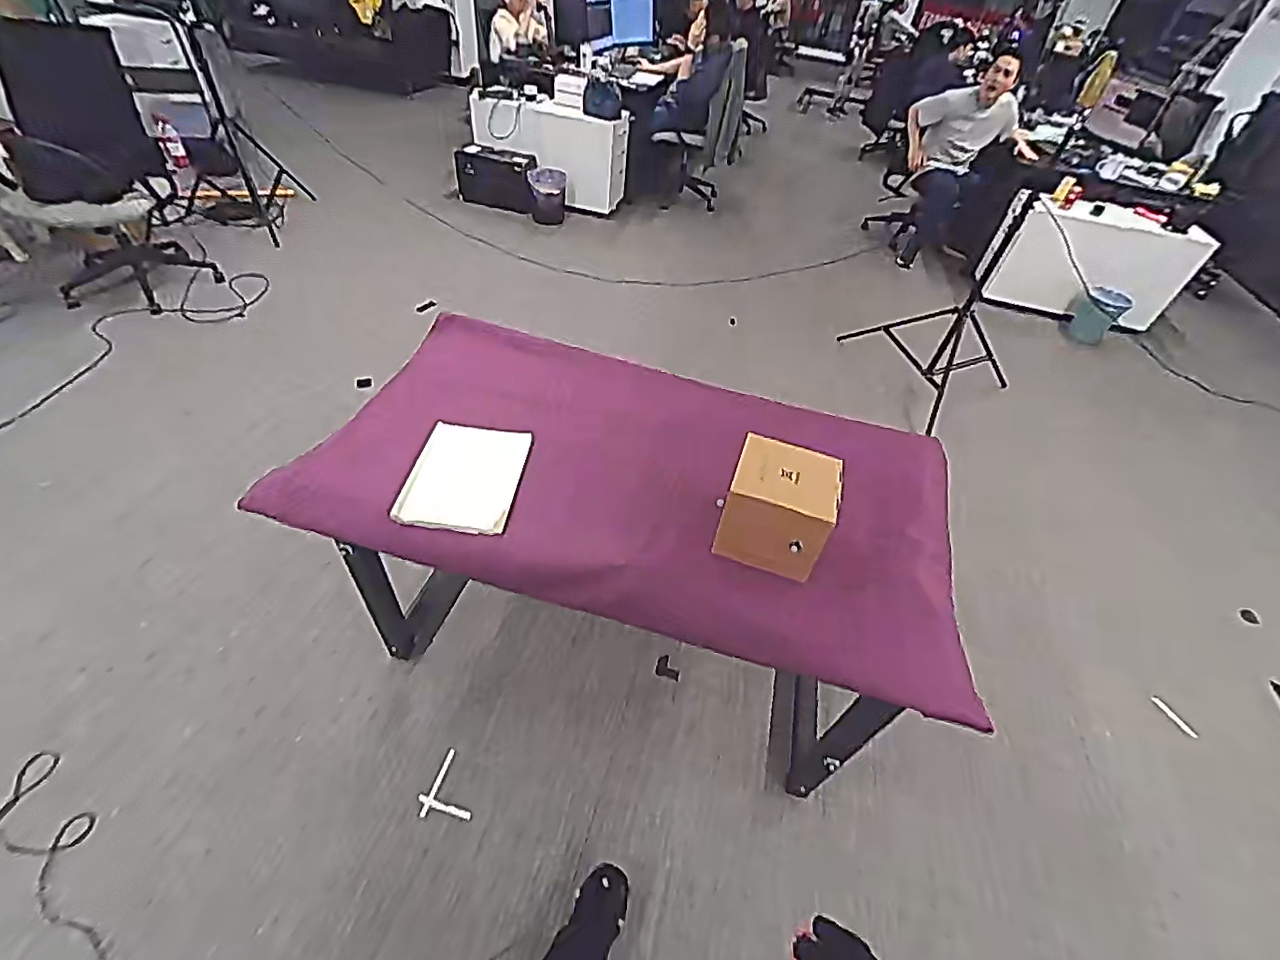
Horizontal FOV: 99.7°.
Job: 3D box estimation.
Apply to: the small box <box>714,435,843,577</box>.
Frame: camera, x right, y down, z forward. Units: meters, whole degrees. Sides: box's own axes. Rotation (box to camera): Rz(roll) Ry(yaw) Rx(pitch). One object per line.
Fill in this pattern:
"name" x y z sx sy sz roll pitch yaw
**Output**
"small box" 0.246 0.050 0.971 0.179 0.176 0.168 16 43 10
